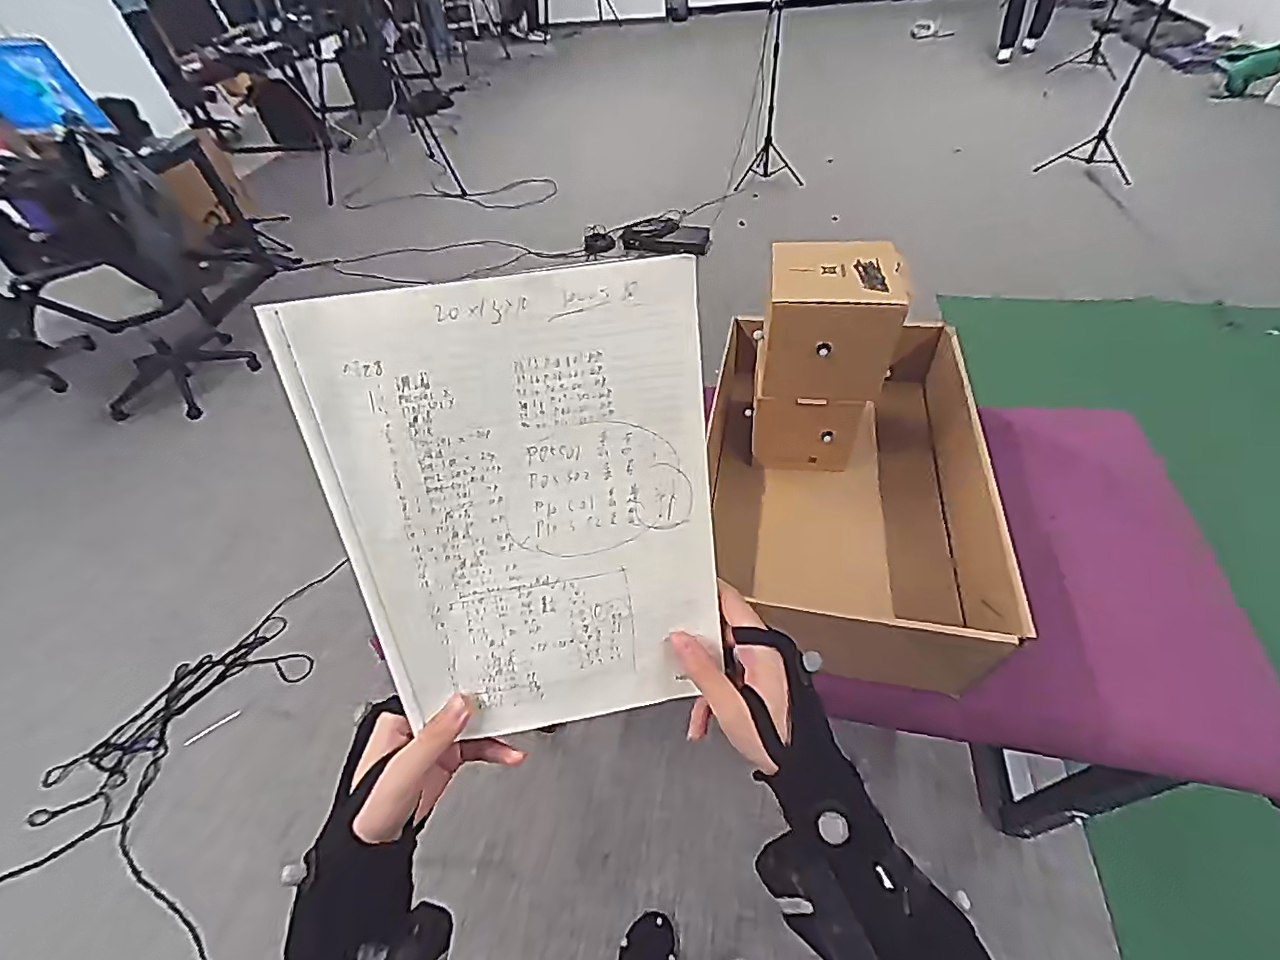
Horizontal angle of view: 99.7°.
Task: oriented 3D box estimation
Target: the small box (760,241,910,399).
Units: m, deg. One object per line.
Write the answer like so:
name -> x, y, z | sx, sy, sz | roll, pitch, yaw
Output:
small box -> 0.281, -0.239, 0.816 | 0.179, 0.176, 0.168 | 4, 50, 10
